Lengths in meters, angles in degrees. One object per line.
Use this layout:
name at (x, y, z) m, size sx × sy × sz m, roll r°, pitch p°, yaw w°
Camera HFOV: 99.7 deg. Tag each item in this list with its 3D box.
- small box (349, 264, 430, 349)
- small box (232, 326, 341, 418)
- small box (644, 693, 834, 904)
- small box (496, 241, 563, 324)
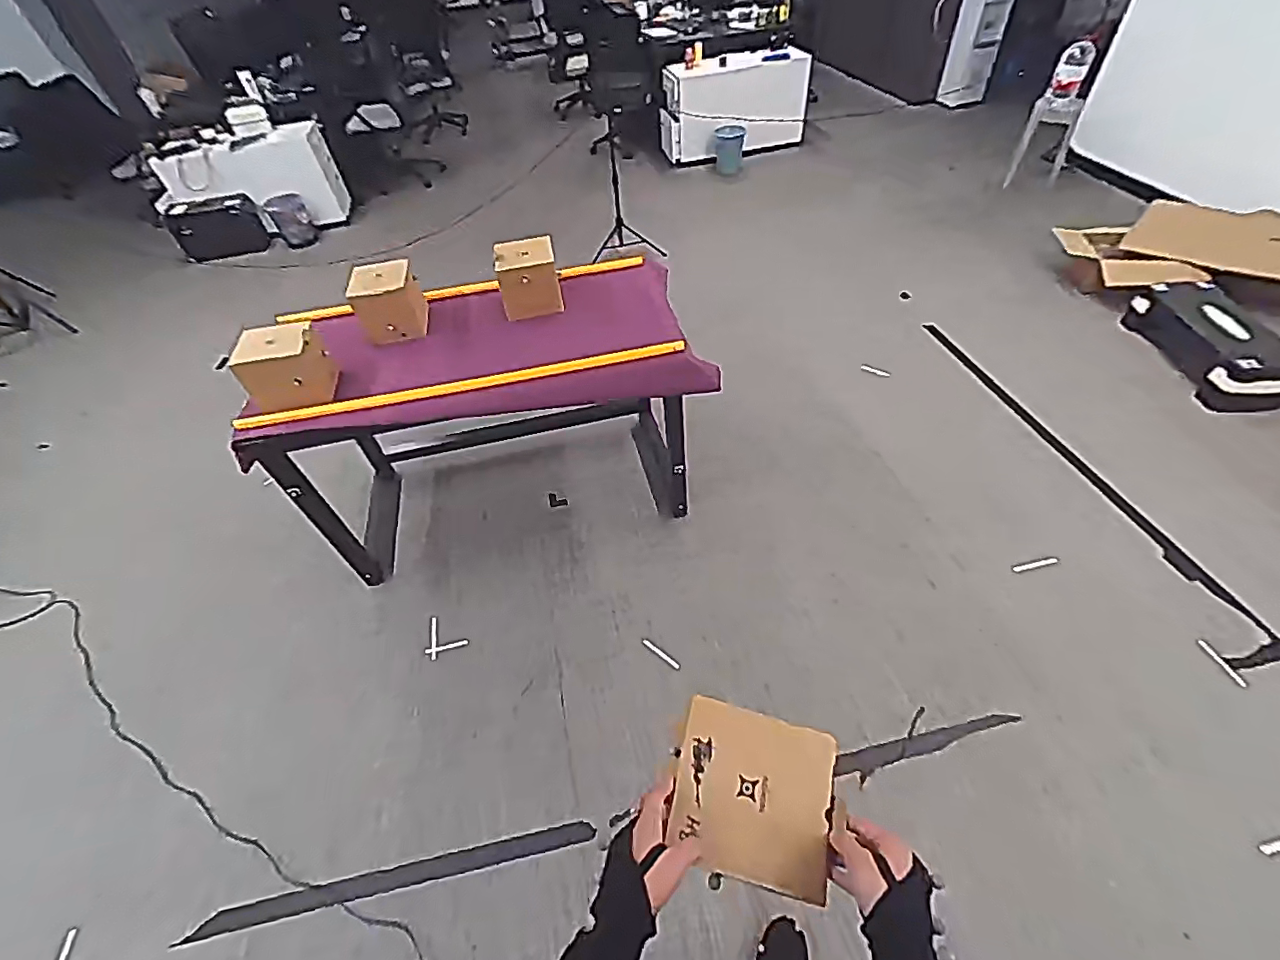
small box at (-0.752, -0.527, 1.647) m, size 0.168 × 0.176 × 0.179 m, roll -12°, pitch 50°, yaw -4°
small box at (-0.936, -0.289, 1.454) m, size 0.179 × 0.176 × 0.168 m, roll -11°, pitch 48°, yaw -6°
small box at (0.115, 0.383, 0.662) m, size 0.179 × 0.176 × 0.168 m, roll 16°, pitch 56°, yaw 3°
small box at (-0.339, -0.611, 1.677) m, size 0.179 × 0.176 × 0.168 m, roll -12°, pitch 50°, yaw -3°
